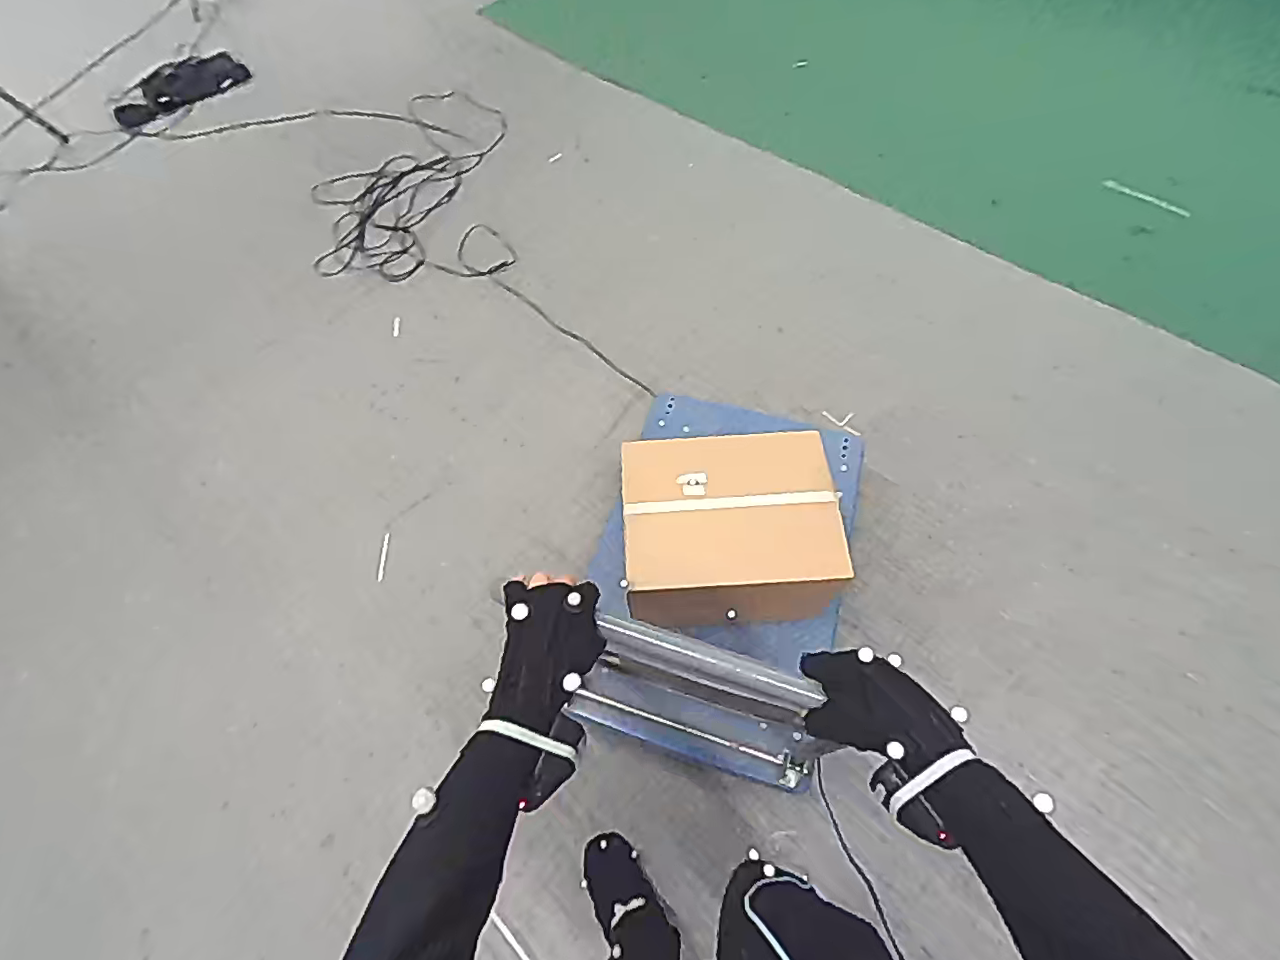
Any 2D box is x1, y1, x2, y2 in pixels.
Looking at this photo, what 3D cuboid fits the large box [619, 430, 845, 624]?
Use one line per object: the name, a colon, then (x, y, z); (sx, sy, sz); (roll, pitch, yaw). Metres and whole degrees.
large box: (0.173, 0.116, 1.172); (0.408, 0.320, 0.320); (-4, 62, 1)
